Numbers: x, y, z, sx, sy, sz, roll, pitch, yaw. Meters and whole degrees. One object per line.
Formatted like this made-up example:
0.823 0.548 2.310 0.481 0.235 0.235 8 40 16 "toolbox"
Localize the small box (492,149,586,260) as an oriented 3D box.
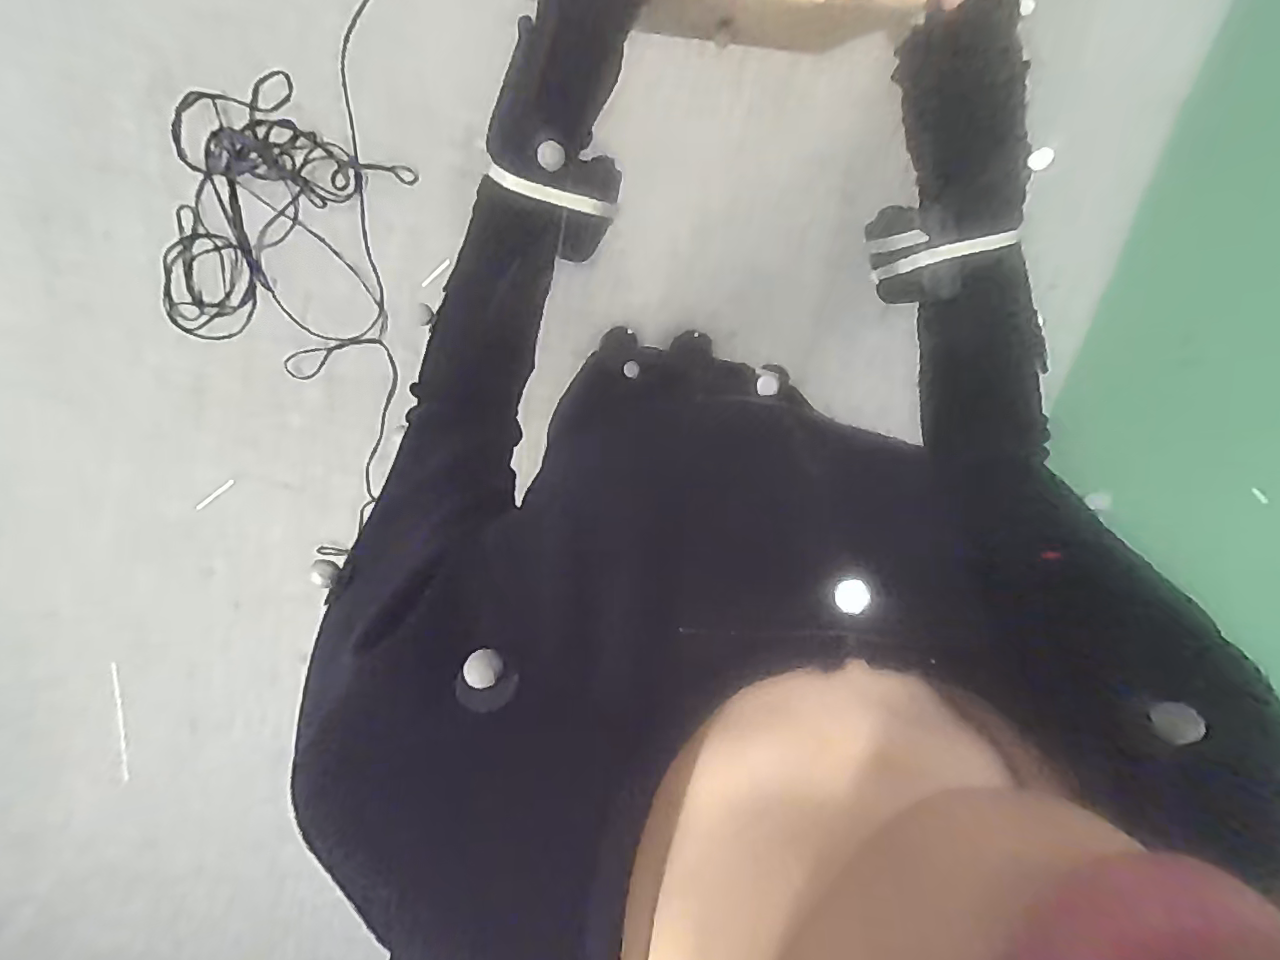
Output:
-0.222 -0.614 1.232 0.168 0.176 0.179 14 105 -5 "small box"
